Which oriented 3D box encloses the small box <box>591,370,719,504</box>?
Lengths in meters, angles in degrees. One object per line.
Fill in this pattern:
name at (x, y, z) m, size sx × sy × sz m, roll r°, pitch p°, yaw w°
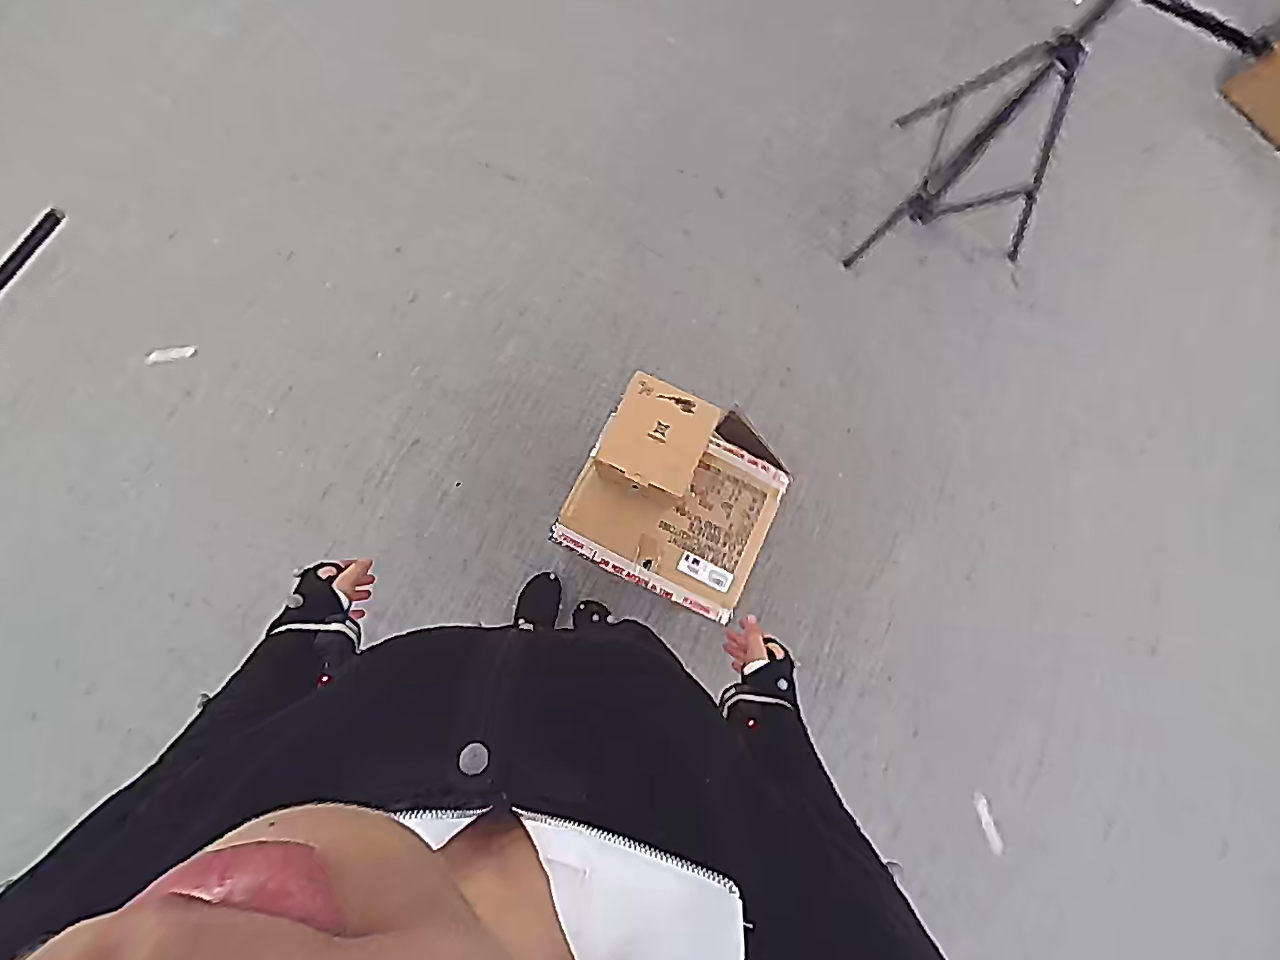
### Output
small box at (0.025, -0.068, 0.996) m, size 0.168 × 0.176 × 0.179 m, roll 26°, pitch 82°, yaw 1°
